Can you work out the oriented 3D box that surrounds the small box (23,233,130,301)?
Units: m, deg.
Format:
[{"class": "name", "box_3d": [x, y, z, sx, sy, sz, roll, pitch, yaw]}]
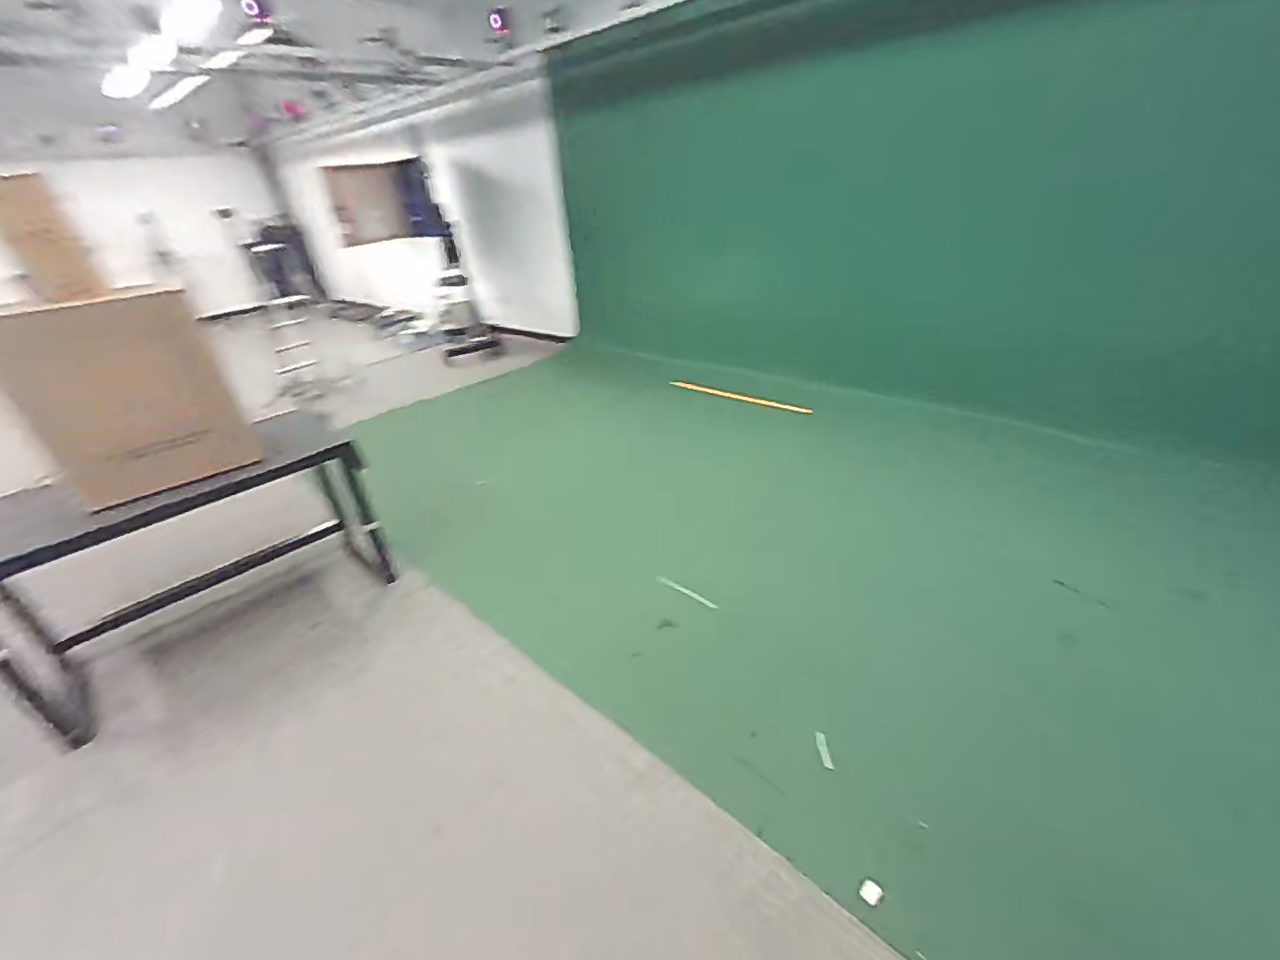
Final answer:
[{"class": "small box", "box_3d": [-1.717, -0.656, 1.662, 0.168, 0.176, 0.179, -21, 35, -28]}]
